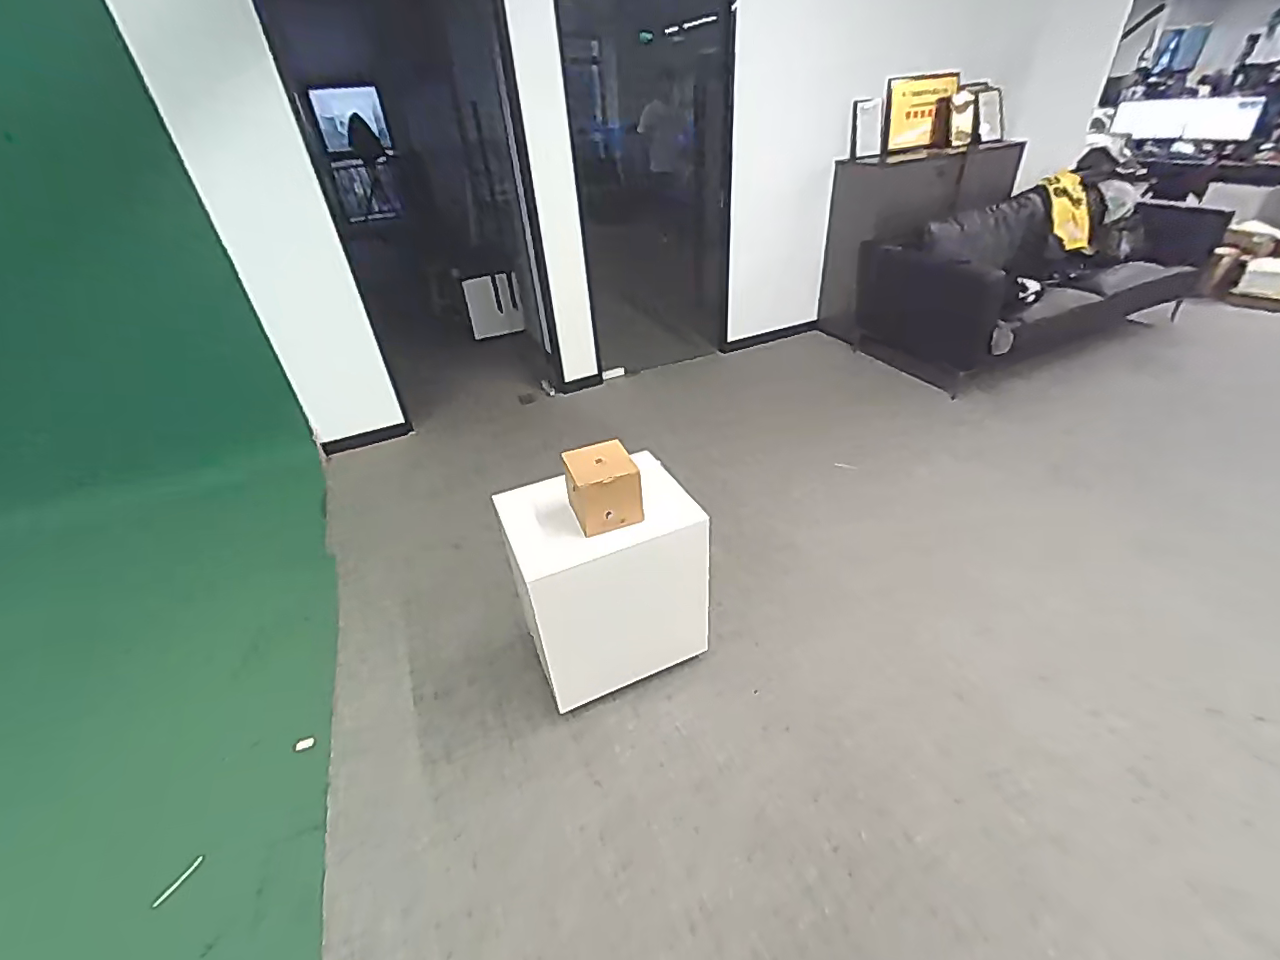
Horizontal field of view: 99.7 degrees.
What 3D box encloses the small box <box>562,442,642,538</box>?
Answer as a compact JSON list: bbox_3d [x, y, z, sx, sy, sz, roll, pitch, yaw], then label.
[{"bbox_3d":[-0.101,0.025,1.442,0.168,0.176,0.179,-16,35,-16],"label":"small box"}]
